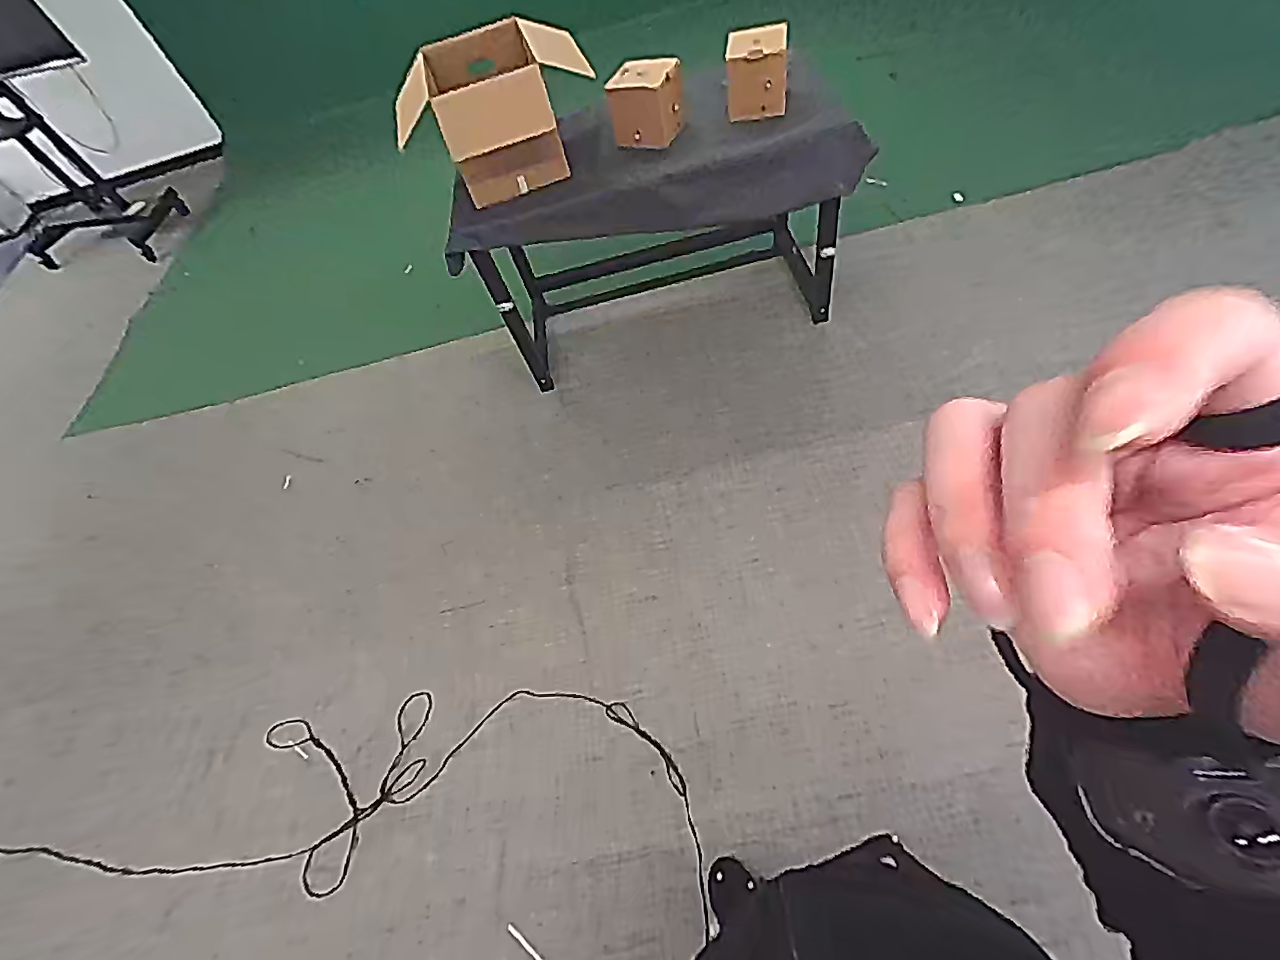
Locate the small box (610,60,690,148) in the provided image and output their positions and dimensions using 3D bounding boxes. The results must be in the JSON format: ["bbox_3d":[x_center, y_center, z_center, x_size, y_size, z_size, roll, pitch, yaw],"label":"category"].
[{"bbox_3d":[0.038,-1.135,1.640,0.179,0.176,0.168,17,64,23],"label":"small box"}]

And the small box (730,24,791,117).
[{"bbox_3d":[0.361,-1.204,1.602,0.168,0.176,0.179,2,57,14],"label":"small box"}]
